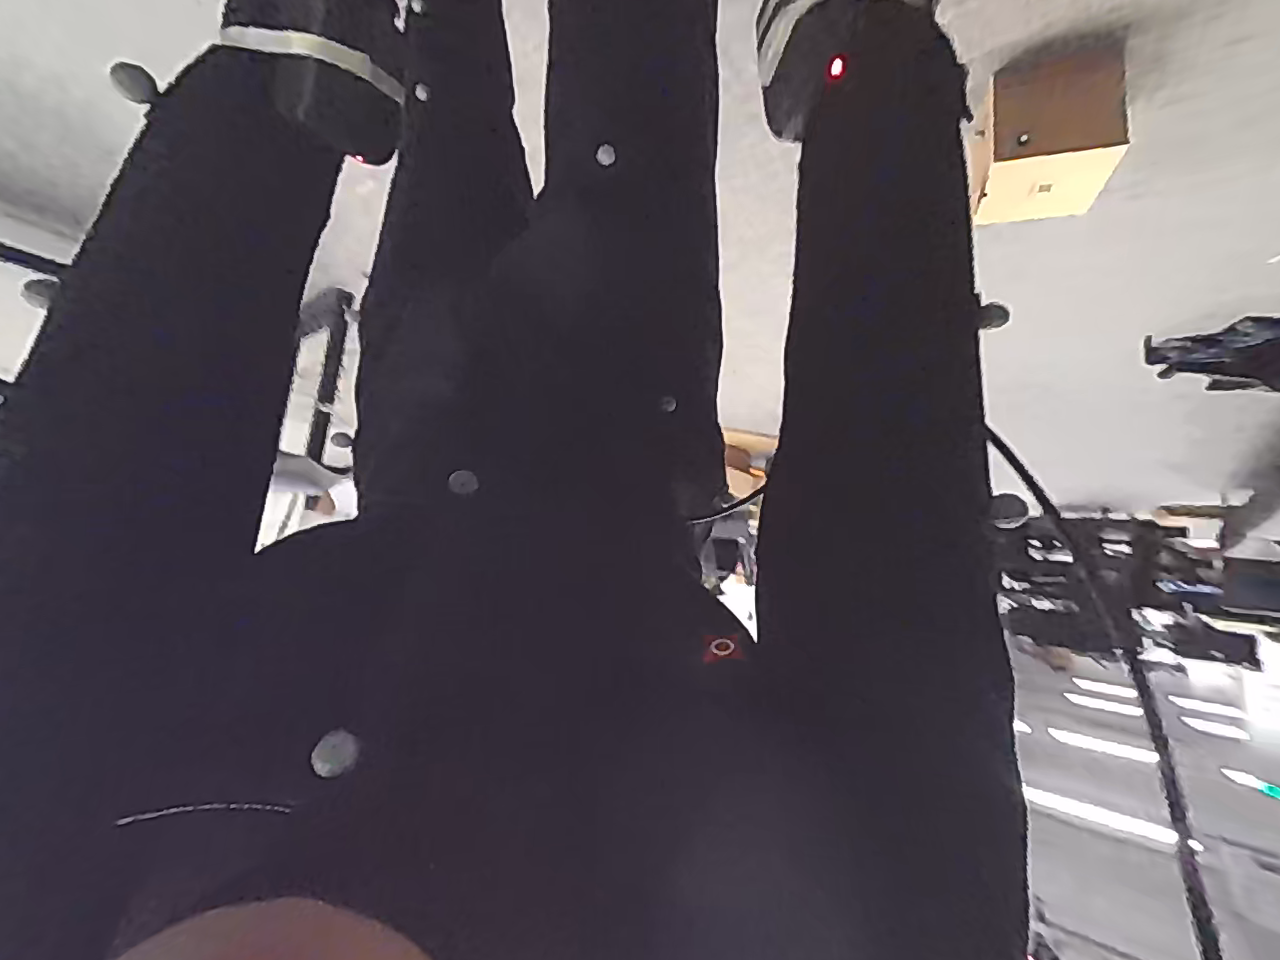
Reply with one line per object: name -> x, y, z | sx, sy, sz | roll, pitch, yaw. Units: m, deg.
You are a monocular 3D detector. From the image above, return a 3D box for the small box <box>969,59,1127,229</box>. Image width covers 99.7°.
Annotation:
small box -> 0.667, -0.552, 0.902 | 0.179, 0.176, 0.168 | 3, 171, 22
